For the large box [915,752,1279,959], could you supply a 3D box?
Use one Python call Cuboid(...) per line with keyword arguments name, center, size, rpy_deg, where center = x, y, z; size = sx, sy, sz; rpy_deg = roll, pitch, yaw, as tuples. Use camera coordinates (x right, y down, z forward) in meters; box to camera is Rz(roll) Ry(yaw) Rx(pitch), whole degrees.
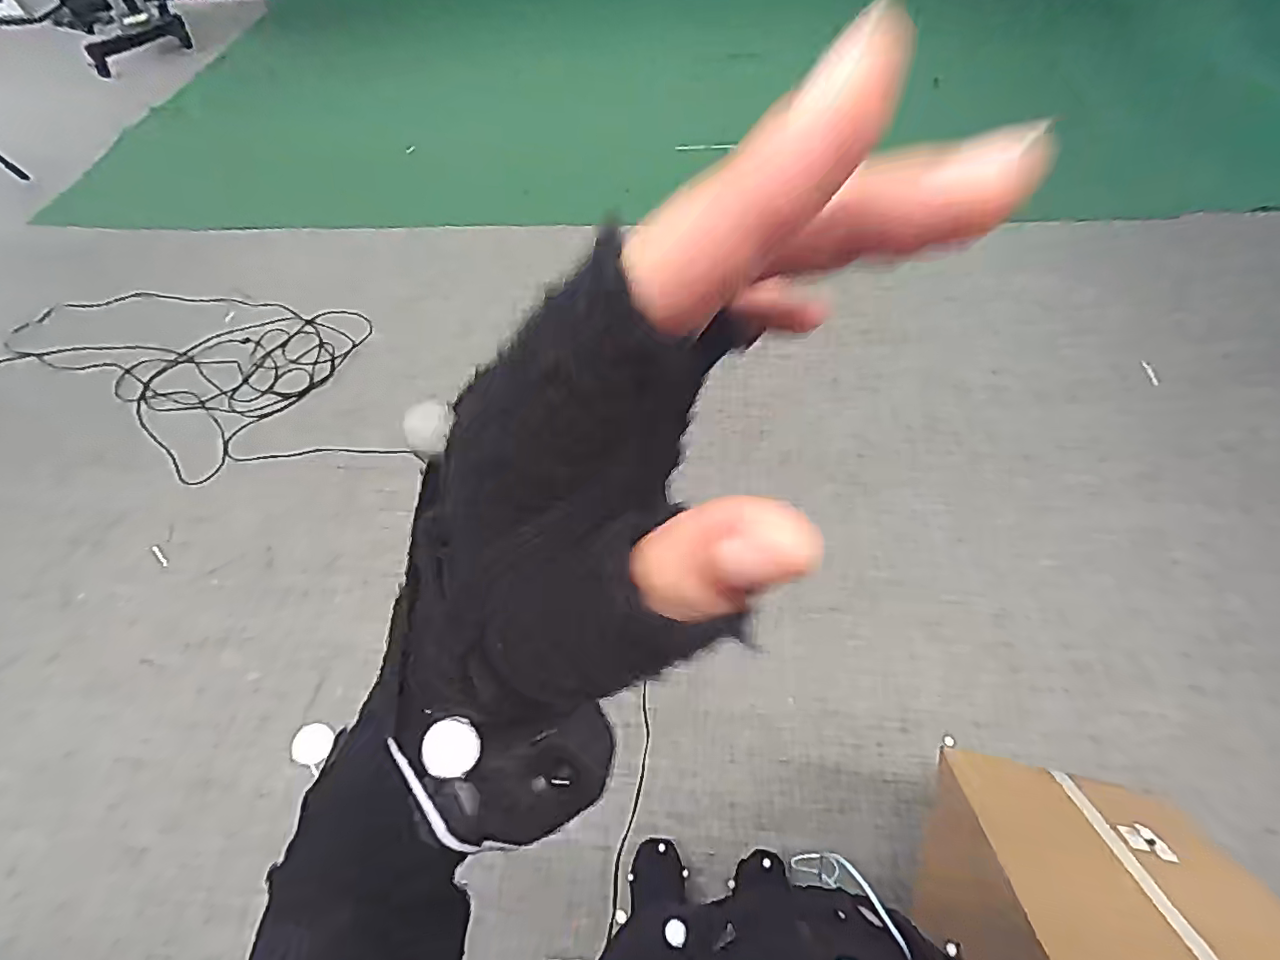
Cuboid(name="large box", center=(0.564, 0.616, 0.652), size=(0.320, 0.408, 0.320), rpy_deg=(9, 97, 14))
